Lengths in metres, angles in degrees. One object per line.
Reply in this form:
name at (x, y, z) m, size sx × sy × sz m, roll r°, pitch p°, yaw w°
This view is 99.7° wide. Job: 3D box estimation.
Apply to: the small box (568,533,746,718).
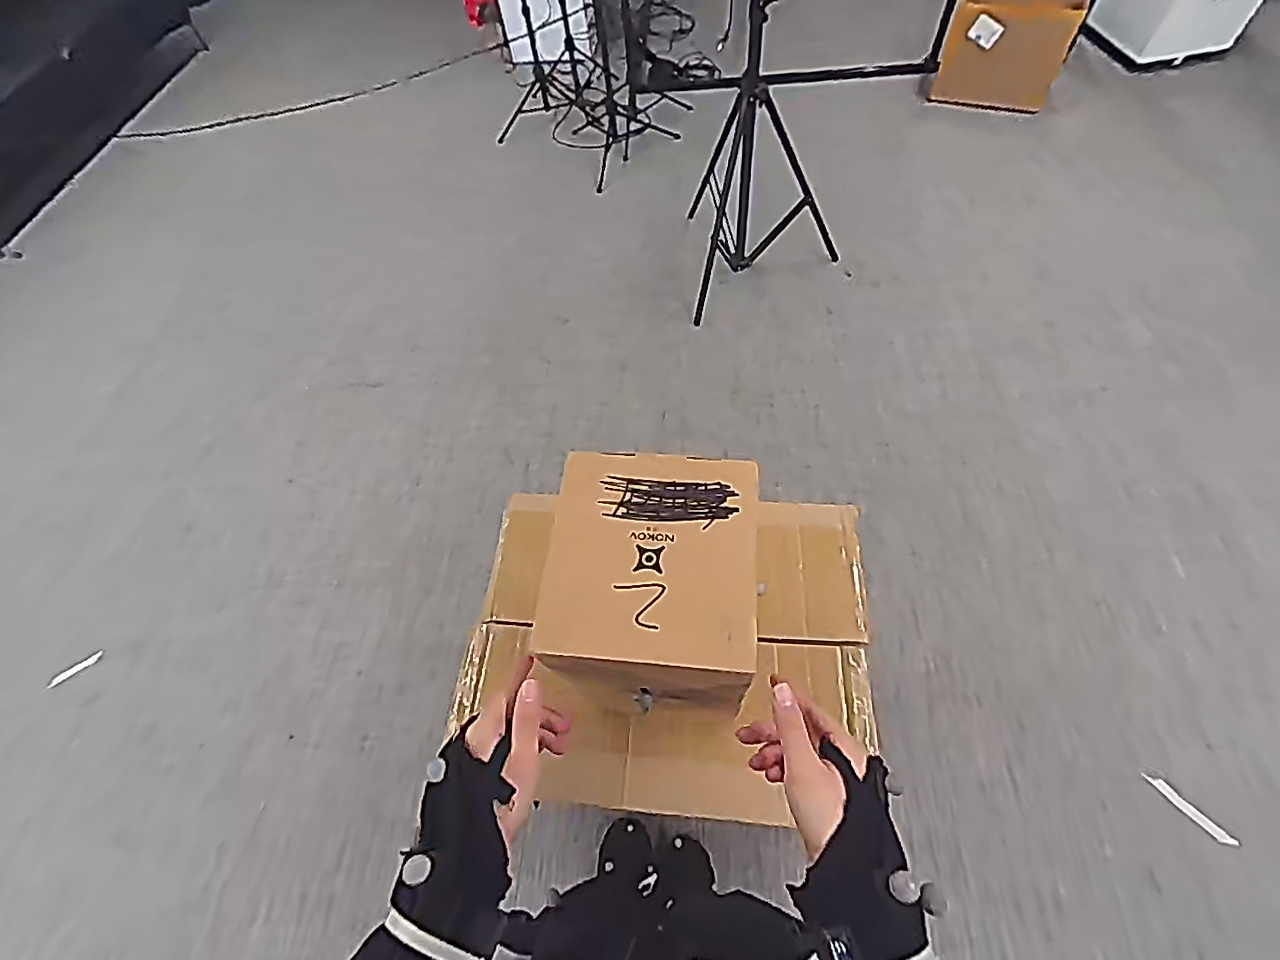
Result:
small box at (0.030, 0.176, 0.636) m, size 0.179 × 0.176 × 0.168 m, roll 3°, pitch 60°, yaw 8°
